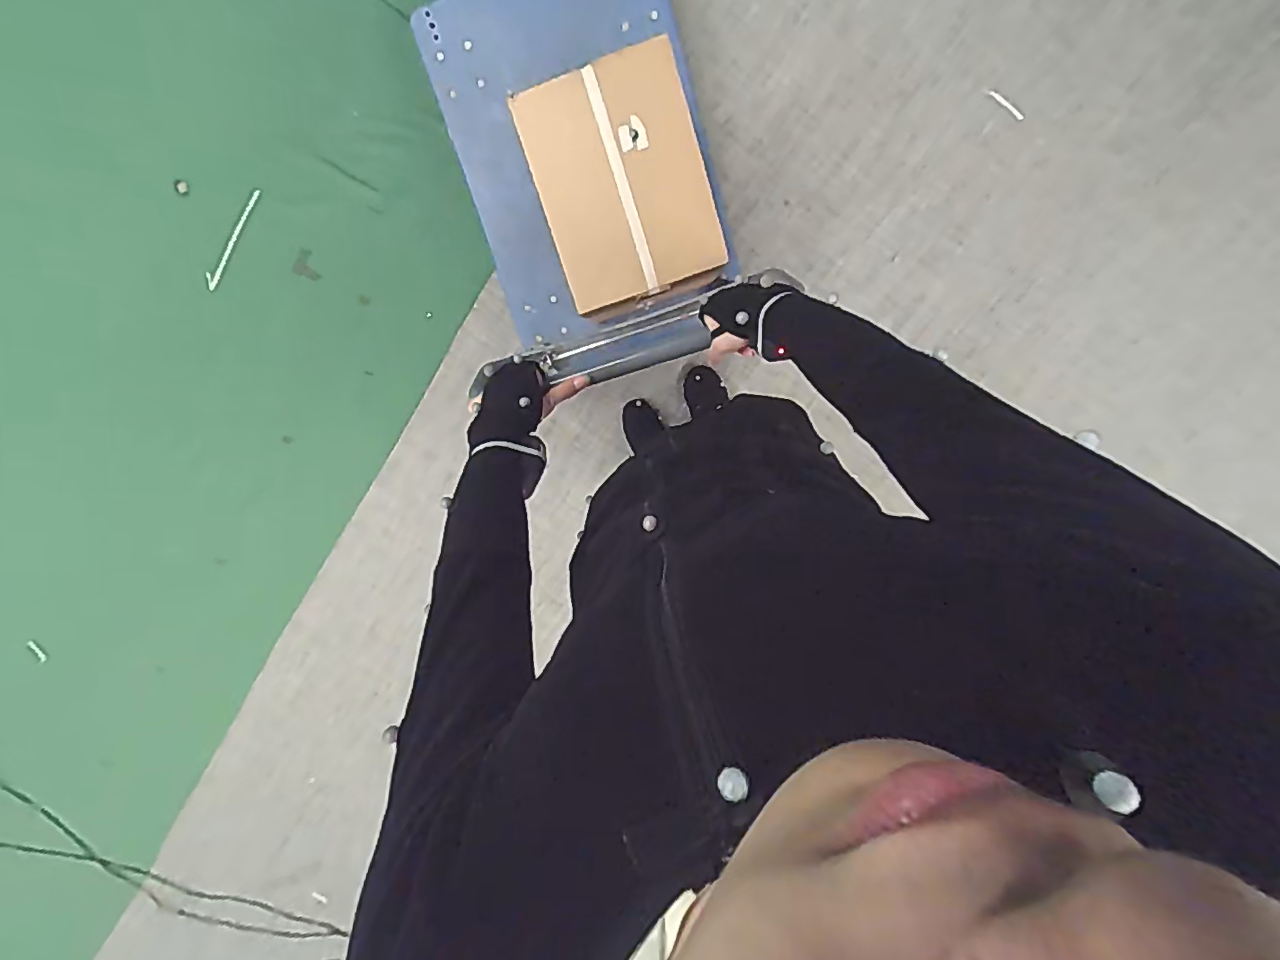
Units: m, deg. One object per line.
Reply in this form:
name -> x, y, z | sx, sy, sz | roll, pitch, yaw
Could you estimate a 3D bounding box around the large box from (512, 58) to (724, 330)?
large box -> -0.030, -0.581, 1.192 | 0.320, 0.320, 0.408 | -17, 101, 5
